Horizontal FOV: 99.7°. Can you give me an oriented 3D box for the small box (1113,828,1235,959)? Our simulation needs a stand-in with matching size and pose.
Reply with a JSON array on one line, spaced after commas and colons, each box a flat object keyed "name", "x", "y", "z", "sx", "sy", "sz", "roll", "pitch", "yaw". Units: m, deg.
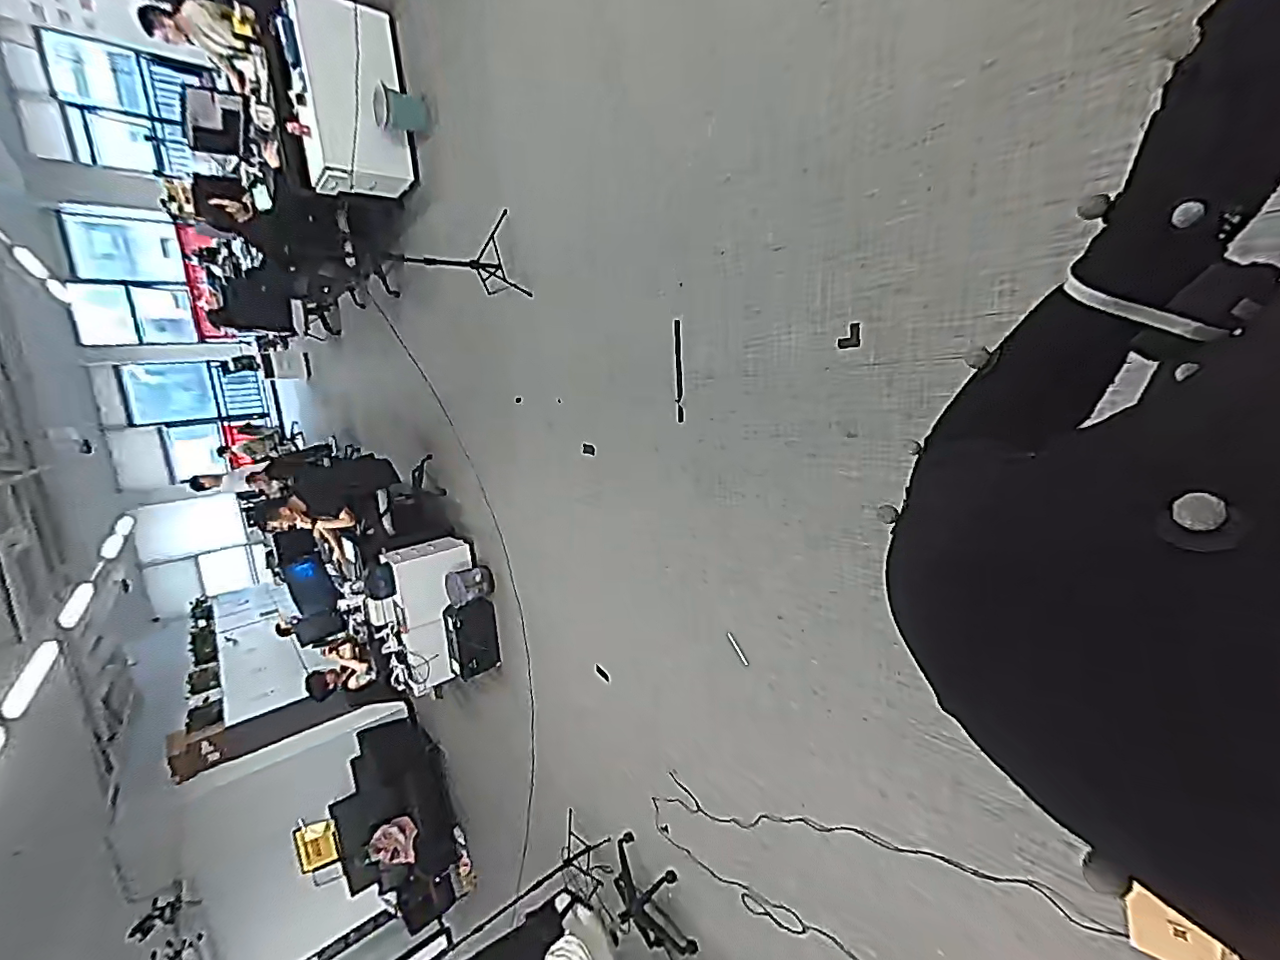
[{"name": "small box", "x": 1.154, "y": 0.908, "z": 1.167, "sx": 0.168, "sy": 0.176, "sz": 0.179, "roll": -4, "pitch": 97, "yaw": 51}]
